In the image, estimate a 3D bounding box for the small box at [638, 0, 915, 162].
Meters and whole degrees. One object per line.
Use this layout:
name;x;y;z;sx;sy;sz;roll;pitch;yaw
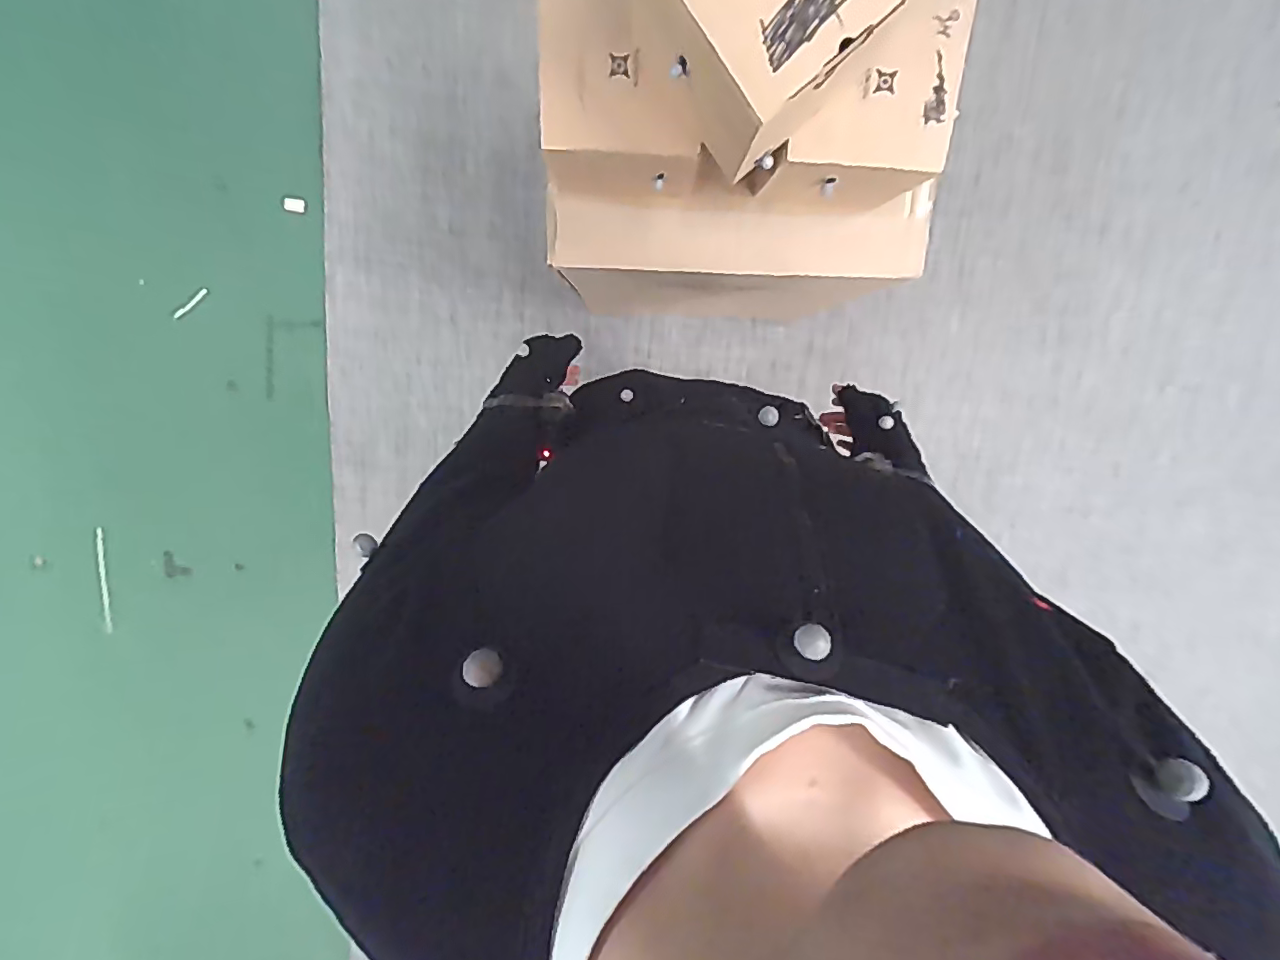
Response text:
small box;0.112;-0.420;0.482;0.168;0.176;0.179;-37;100;9

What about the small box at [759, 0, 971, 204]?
small box;0.247;-0.441;0.646;0.179;0.176;0.168;4;105;0

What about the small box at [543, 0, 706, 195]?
small box;-0.014;-0.453;0.644;0.179;0.176;0.168;1;103;1
